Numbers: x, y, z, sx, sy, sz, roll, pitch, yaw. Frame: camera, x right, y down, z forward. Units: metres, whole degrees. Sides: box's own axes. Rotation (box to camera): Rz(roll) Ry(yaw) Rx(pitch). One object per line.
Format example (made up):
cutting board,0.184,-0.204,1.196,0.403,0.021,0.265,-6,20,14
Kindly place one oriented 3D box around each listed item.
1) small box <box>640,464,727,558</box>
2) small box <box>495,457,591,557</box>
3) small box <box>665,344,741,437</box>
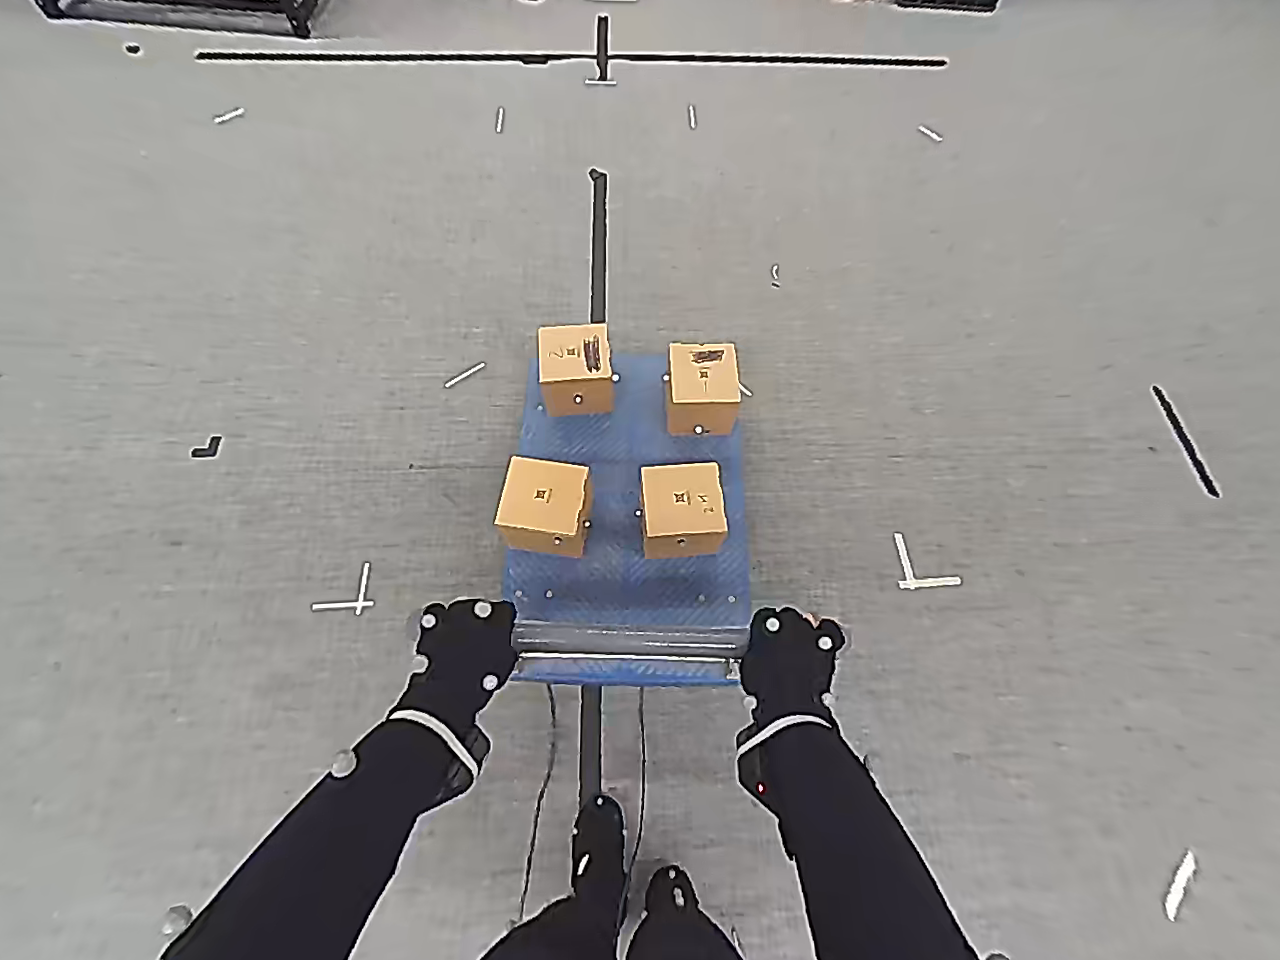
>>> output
small box,0.092,0.076,1.240,0.179,0.176,0.168,-3,66,-3
small box,-0.212,0.067,1.235,0.179,0.176,0.168,8,65,0
small box,0.154,-0.226,1.380,0.168,0.176,0.179,-1,66,-2
